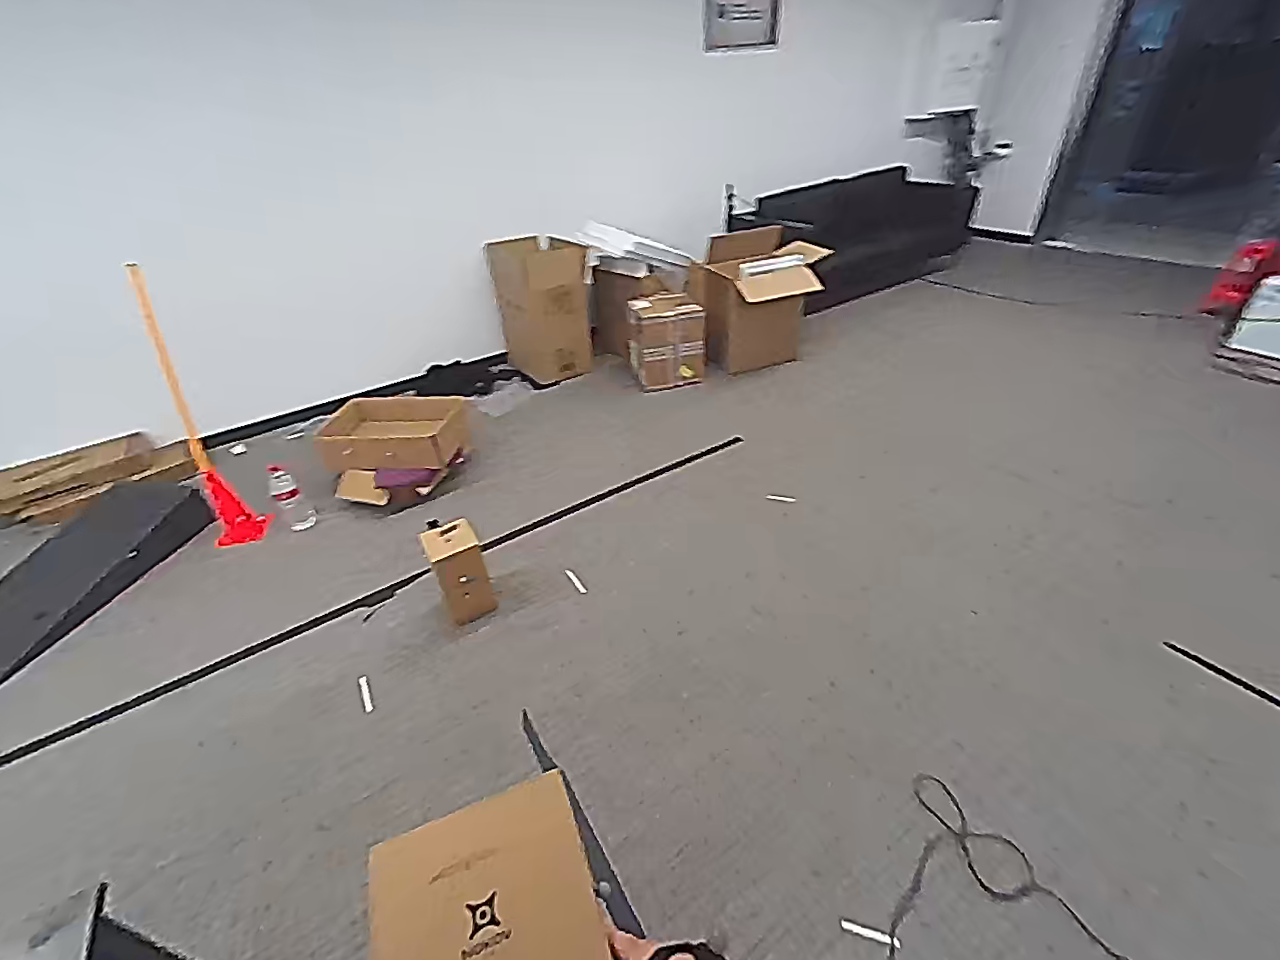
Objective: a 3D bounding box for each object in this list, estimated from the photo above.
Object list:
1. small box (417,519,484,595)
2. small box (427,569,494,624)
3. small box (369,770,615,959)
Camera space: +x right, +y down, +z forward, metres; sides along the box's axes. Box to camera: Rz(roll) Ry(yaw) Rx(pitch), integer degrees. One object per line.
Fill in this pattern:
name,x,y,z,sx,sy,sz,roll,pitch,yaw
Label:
small box,-0.674,0.275,1.928,0.168,0.176,0.179,-23,40,-24
small box,-0.670,0.408,2.026,0.179,0.176,0.168,-22,40,-24
small box,-0.113,0.394,0.455,0.168,0.176,0.179,-16,38,-17
